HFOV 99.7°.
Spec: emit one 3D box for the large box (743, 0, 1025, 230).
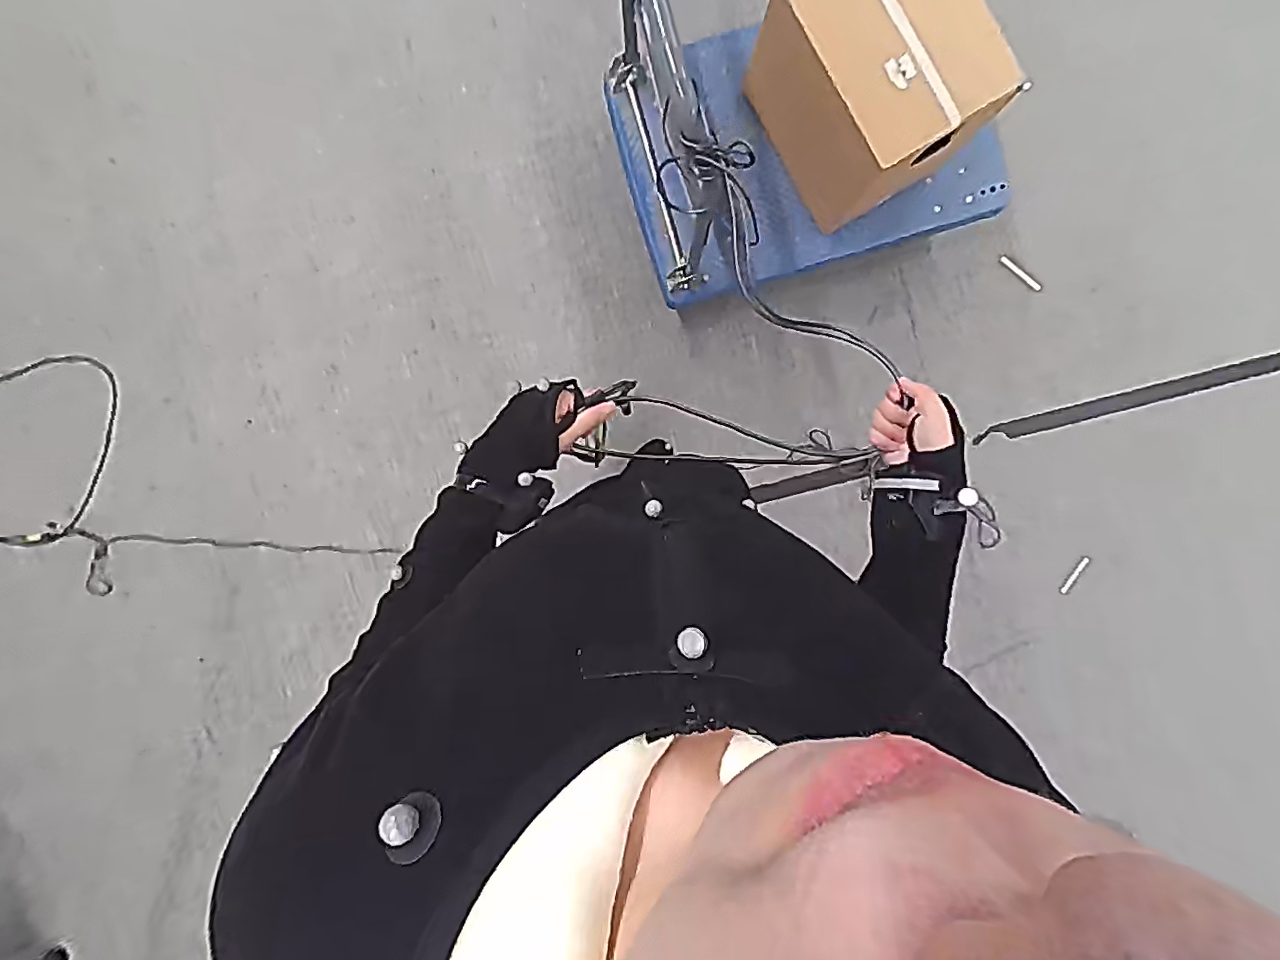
[{"bbox_3d":[0.471,-0.826,1.127,0.320,0.320,0.408,-31,94,2],"label":"large box"}]
